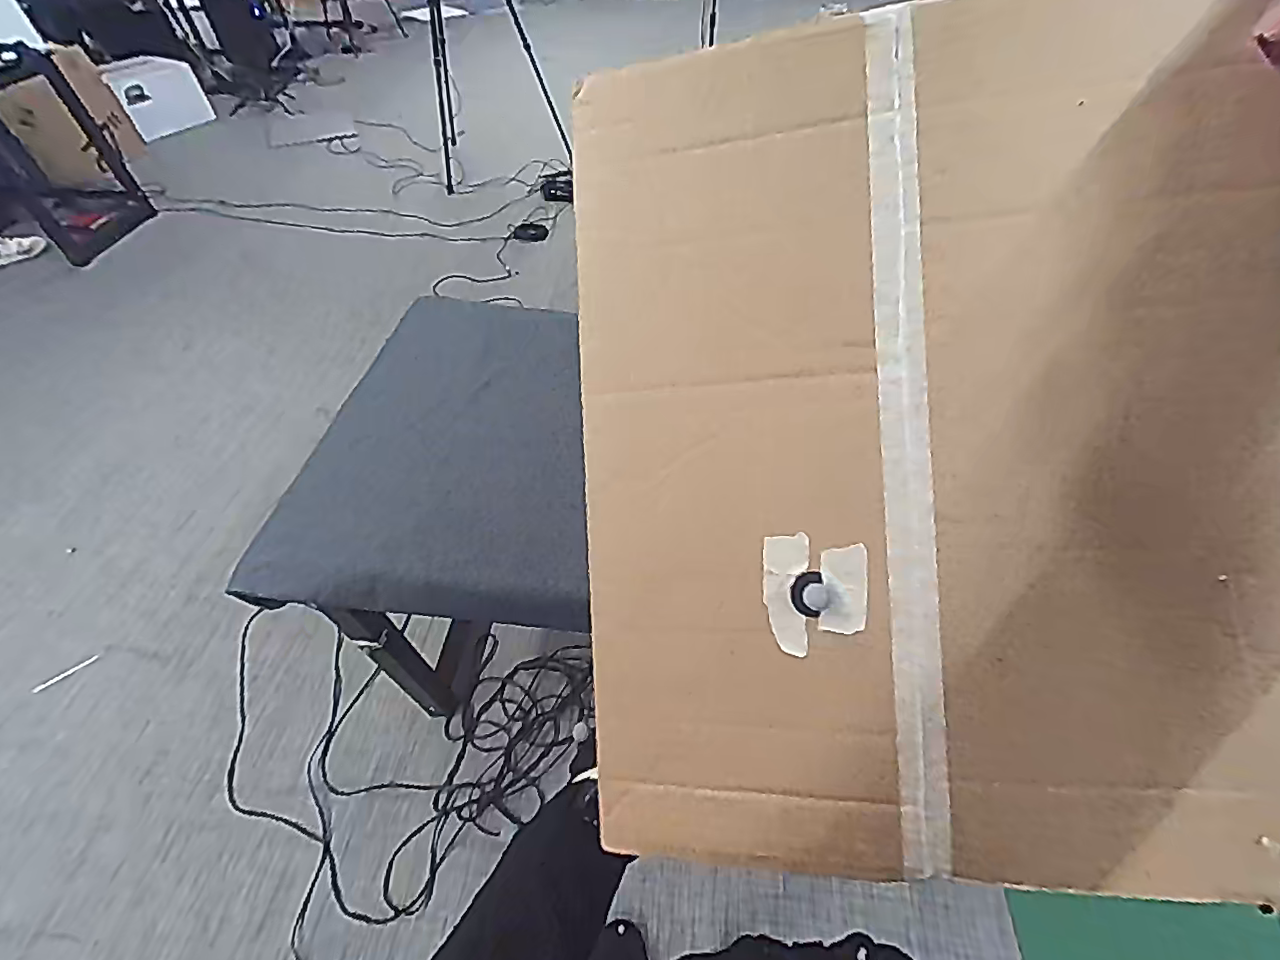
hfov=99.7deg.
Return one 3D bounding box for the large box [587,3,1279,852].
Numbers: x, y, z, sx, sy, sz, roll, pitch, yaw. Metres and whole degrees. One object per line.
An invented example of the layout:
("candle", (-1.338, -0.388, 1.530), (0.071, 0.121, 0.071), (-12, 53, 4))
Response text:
("large box", (0.159, -0.018, 0.420), (0.320, 0.320, 0.408), (-3, 91, 10))
